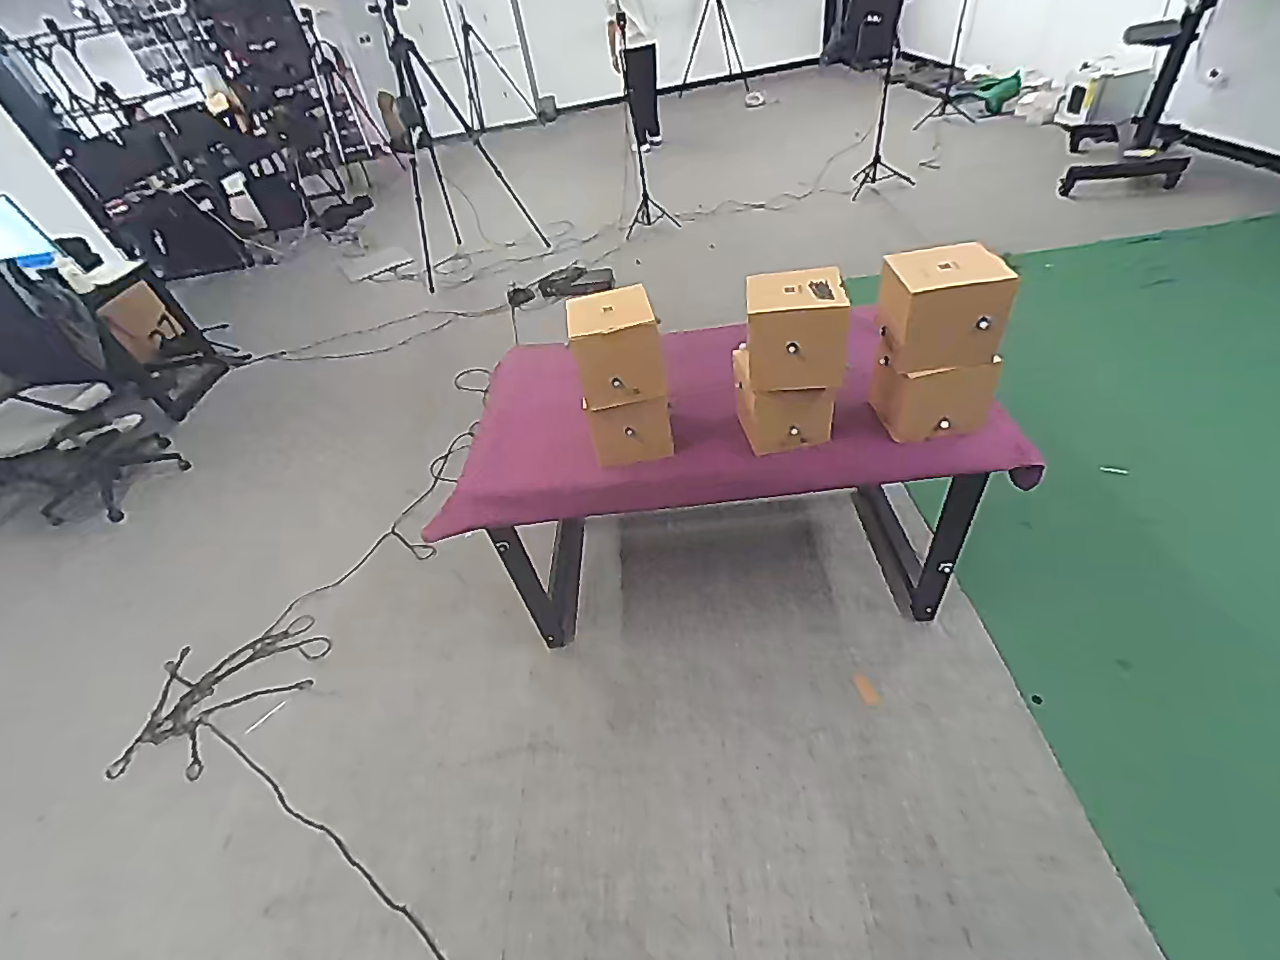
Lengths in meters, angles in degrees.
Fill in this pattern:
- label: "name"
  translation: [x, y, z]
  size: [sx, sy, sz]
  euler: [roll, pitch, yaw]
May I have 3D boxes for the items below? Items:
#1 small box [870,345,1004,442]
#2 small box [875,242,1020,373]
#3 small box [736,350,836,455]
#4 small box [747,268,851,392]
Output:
- label: "small box"
  translation: [0.602, -0.201, 1.123]
  size: [0.179, 0.176, 0.168]
  euler: [-10, 42, 4]
- label: "small box"
  translation: [0.563, -0.322, 1.020]
  size: [0.179, 0.176, 0.168]
  euler: [-6, 43, 8]
- label: "small box"
  translation: [0.309, -0.180, 1.173]
  size: [0.168, 0.176, 0.179]
  euler: [-12, 42, 2]
- label: "small box"
  translation: [0.298, -0.286, 1.045]
  size: [0.179, 0.176, 0.168]
  euler: [-2, 43, 13]
